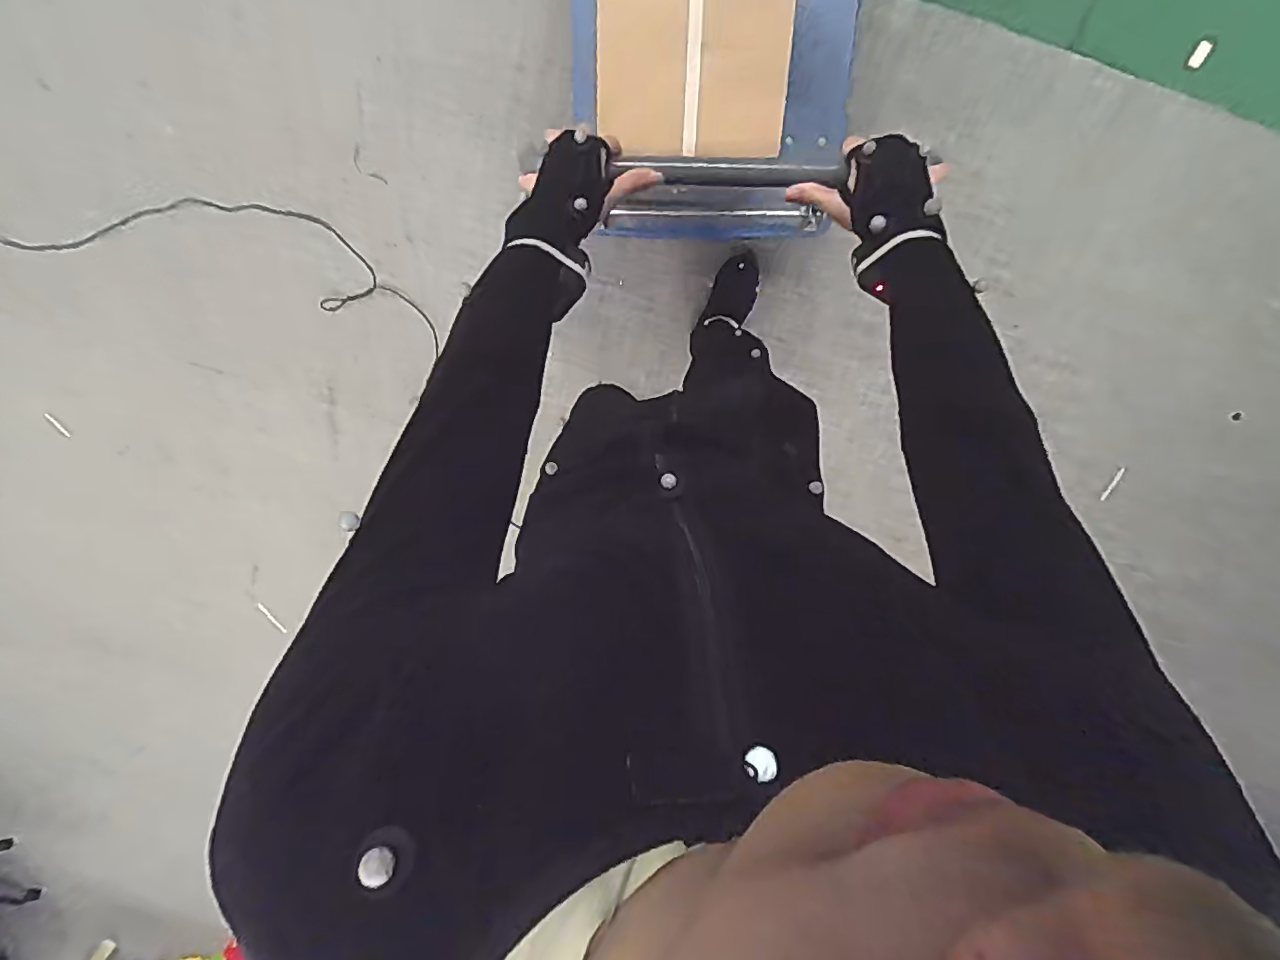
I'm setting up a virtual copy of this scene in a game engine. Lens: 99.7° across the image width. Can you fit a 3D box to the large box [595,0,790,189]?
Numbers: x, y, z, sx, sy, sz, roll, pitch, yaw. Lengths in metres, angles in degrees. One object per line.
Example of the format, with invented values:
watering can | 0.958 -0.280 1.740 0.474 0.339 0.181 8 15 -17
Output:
large box | 0.093 -0.786 0.999 0.320 0.320 0.408 2 111 3
